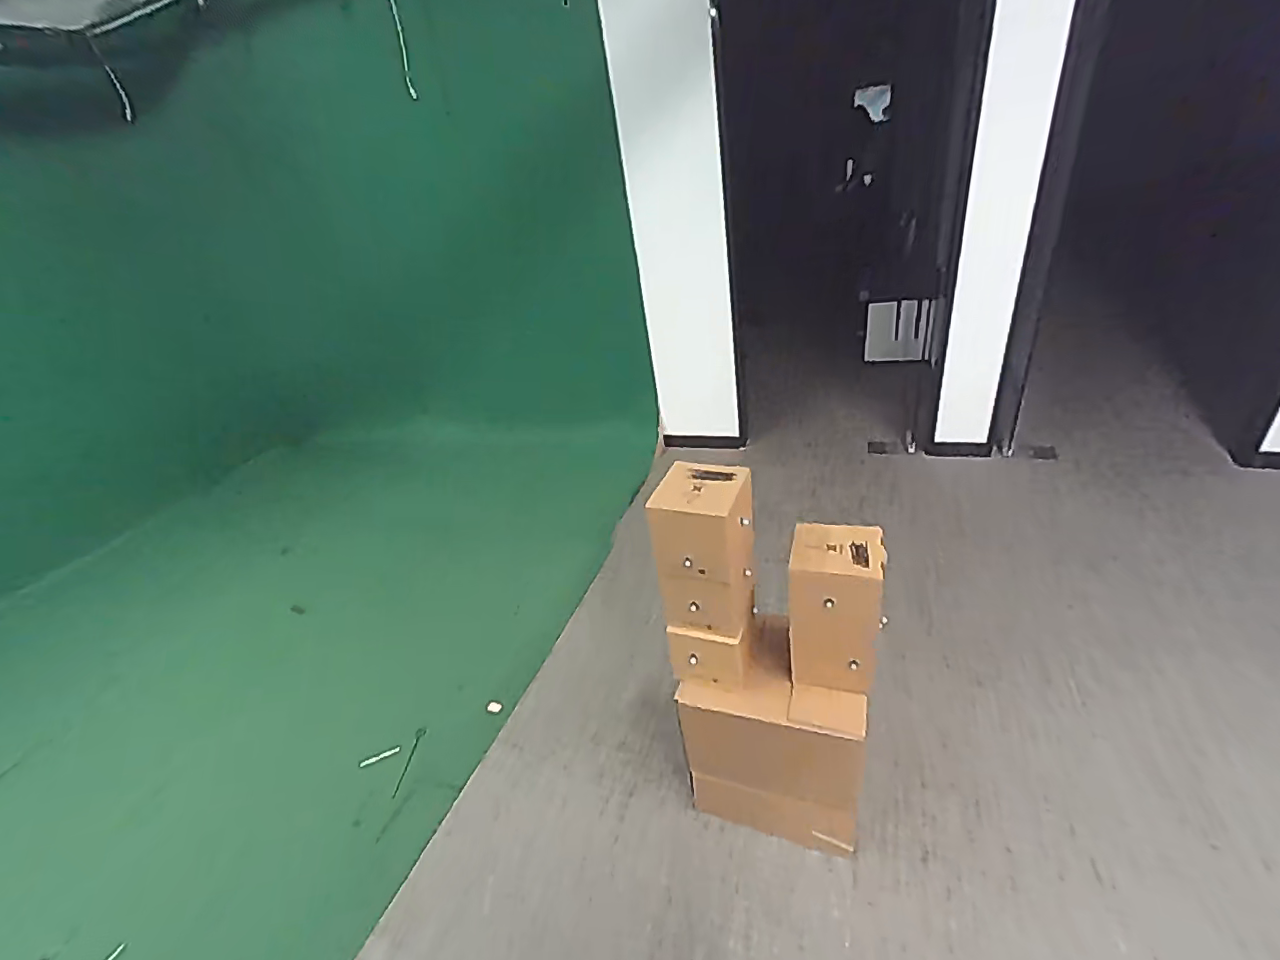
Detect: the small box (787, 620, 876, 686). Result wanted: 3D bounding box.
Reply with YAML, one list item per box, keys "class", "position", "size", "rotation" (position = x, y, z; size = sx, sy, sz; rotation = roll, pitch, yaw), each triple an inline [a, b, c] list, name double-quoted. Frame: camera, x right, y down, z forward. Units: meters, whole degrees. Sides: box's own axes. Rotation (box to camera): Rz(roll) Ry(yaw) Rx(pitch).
- class: "small box"
  position: [0.435, 0.341, 1.226]
  size: [0.179, 0.176, 0.168]
  rotation: [2, 33, 22]

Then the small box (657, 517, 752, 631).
- class: "small box"
  position: [0.153, 0.207, 1.205]
  size: [0.168, 0.176, 0.179]
  rotation: [7, 35, 23]

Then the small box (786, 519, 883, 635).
- class: "small box"
  position: [0.412, 0.203, 1.141]
  size: [0.179, 0.176, 0.168]
  rotation: [2, 33, 23]

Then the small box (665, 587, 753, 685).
- class: "small box"
  position: [0.171, 0.353, 1.280]
  size: [0.168, 0.176, 0.179]
  rotation: [5, 34, 22]
